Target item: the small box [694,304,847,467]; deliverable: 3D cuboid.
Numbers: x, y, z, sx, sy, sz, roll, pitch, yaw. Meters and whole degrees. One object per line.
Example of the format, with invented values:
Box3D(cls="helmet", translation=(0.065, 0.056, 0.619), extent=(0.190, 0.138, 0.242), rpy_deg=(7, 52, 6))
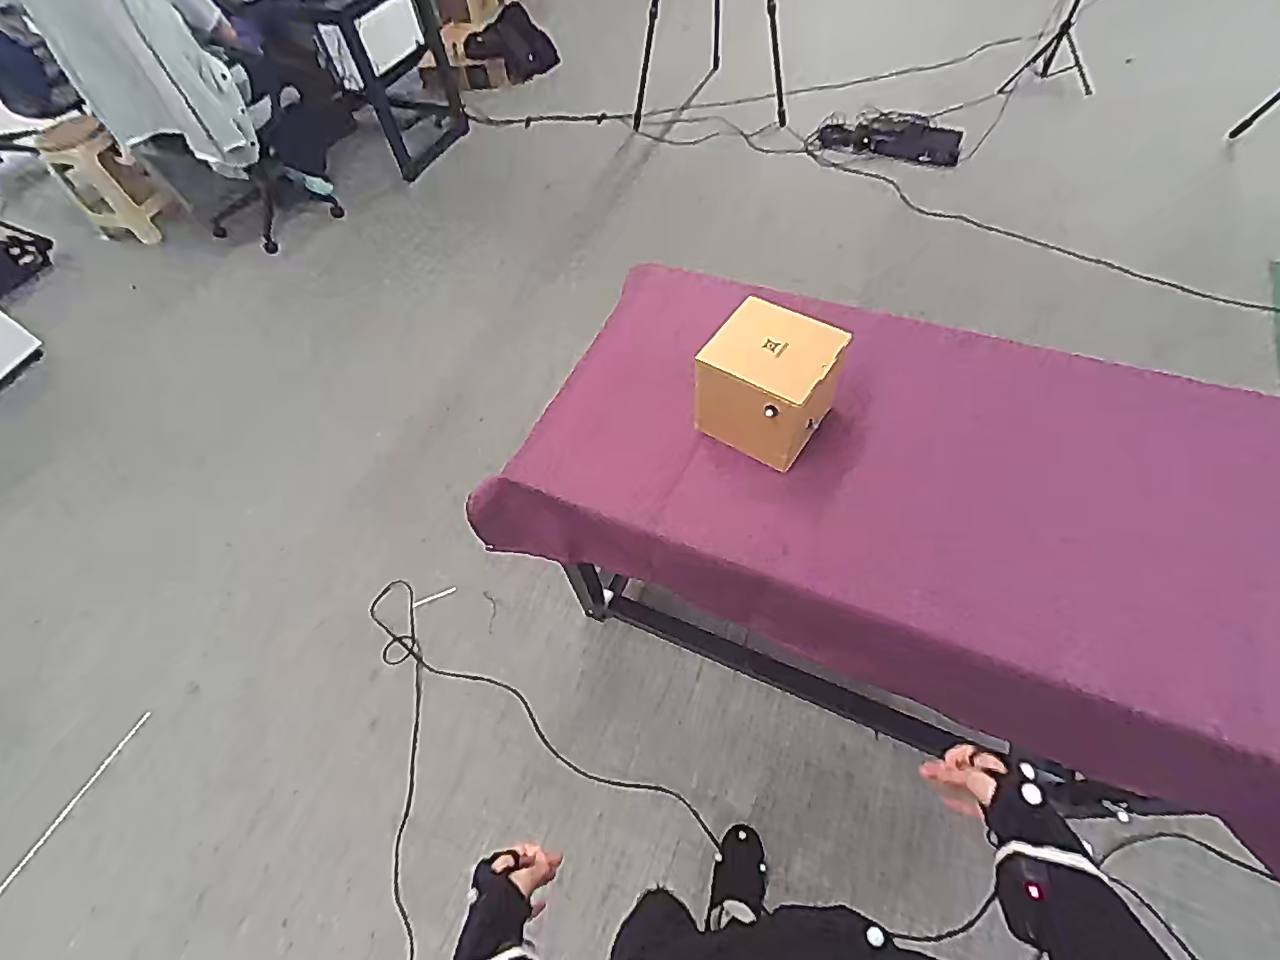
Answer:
Box3D(cls="small box", translation=(0.202, -0.149, 0.880), extent=(0.179, 0.176, 0.168), rpy_deg=(29, 64, 22))
